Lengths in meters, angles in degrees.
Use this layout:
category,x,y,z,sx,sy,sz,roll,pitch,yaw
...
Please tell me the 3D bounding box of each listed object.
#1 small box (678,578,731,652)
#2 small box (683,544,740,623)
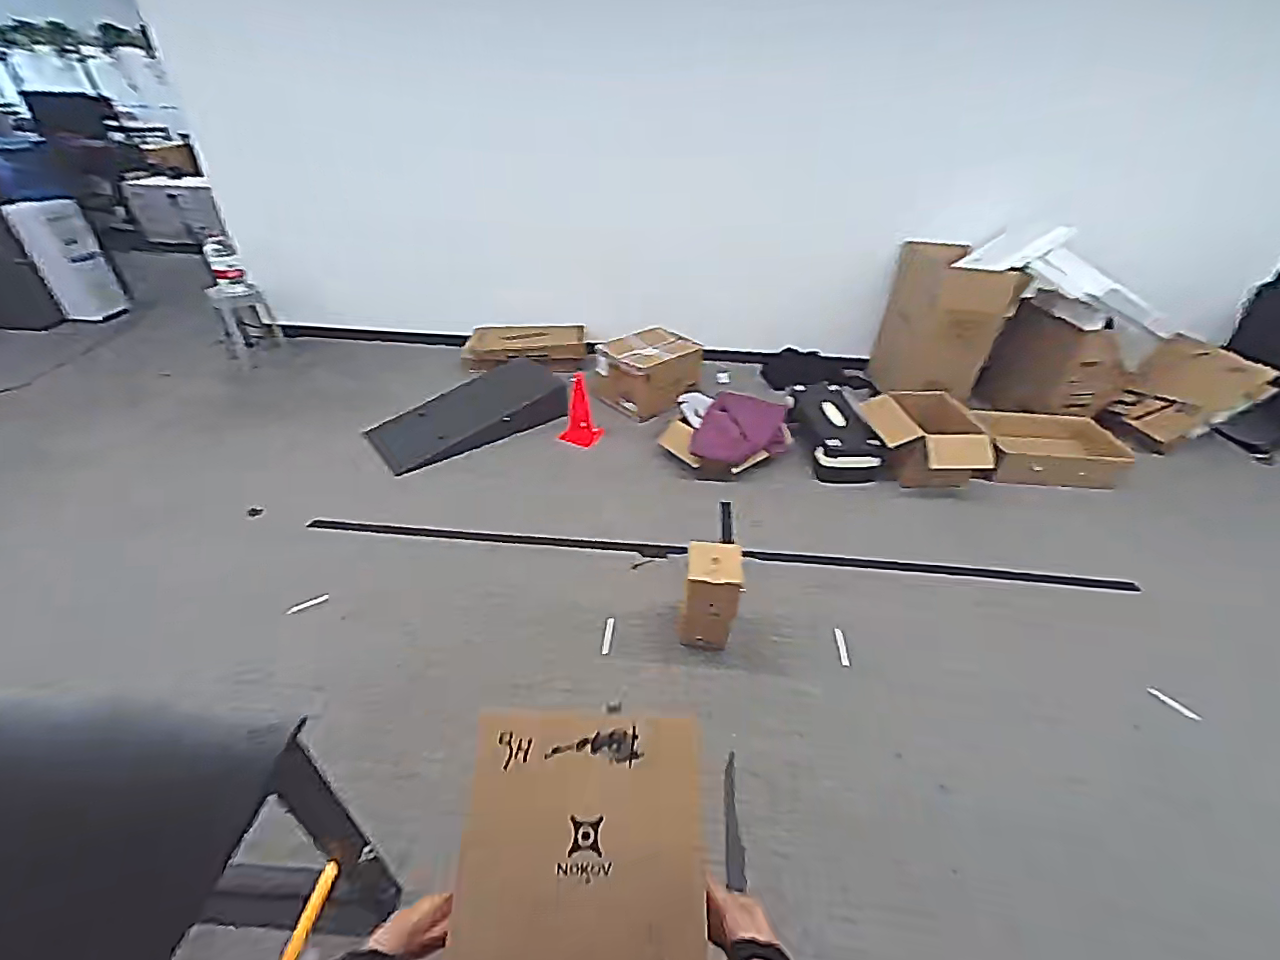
category,x,y,z,sx,sy,sz,roll,pitch,yaw
small box,0.217,0.461,1.850,0.168,0.176,0.179,3,37,4
small box,0.228,0.332,1.746,0.168,0.176,0.179,4,36,4
